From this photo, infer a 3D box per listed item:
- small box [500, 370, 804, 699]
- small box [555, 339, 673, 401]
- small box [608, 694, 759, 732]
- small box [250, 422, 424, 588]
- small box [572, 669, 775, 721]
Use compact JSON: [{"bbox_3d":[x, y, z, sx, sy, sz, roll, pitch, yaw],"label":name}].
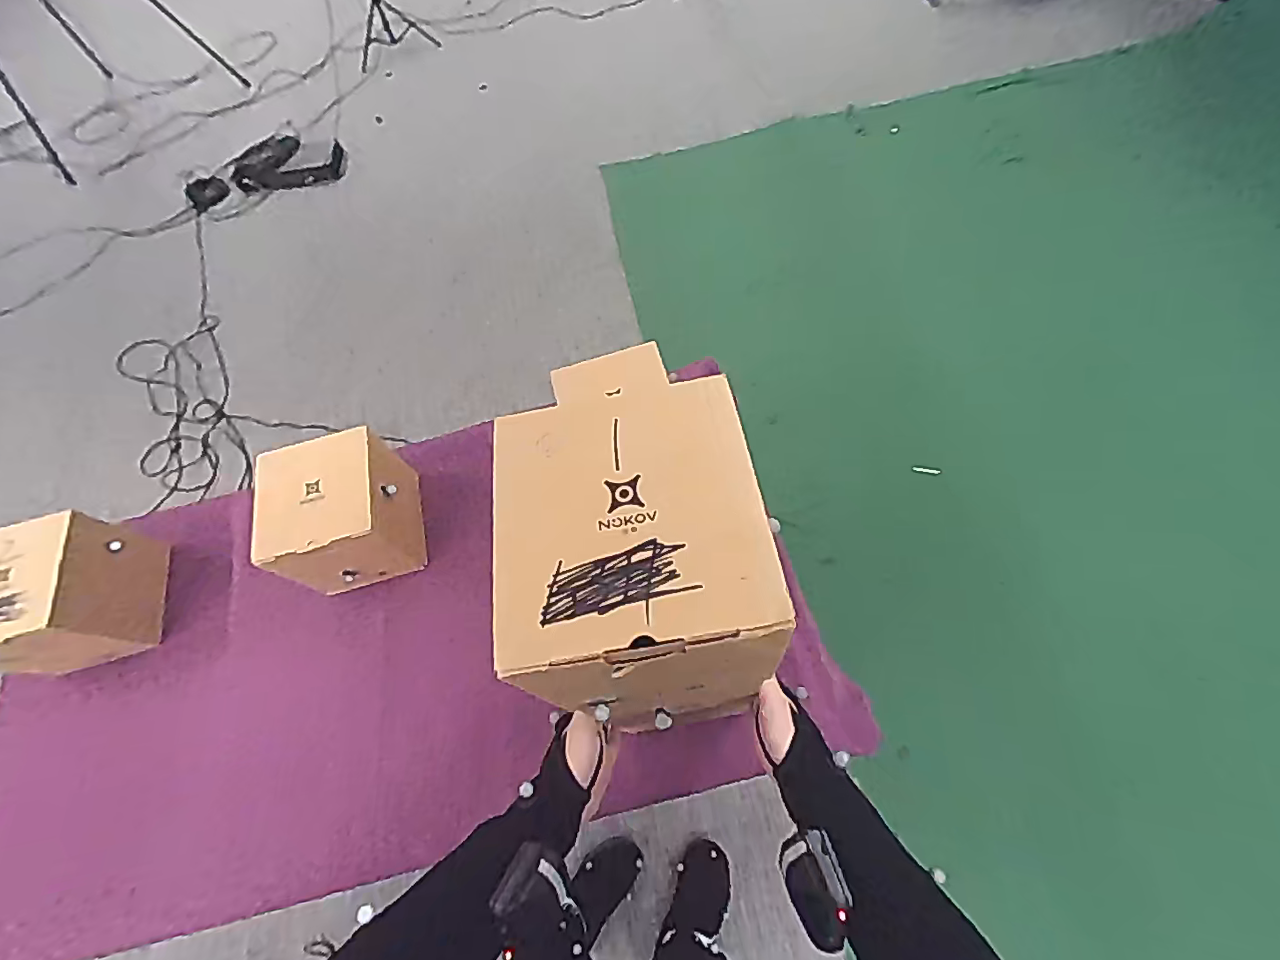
[{"bbox_3d":[0.007,0.052,0.390,0.168,0.176,0.179,-10,59,2],"label":"small box"},{"bbox_3d":[-0.021,-0.080,0.833,0.168,0.176,0.179,-16,64,0],"label":"small box"},{"bbox_3d":[0.042,0.205,0.680,0.168,0.176,0.179,-10,61,1],"label":"small box"},{"bbox_3d":[-0.445,0.044,0.816,0.168,0.176,0.179,-15,65,-3],"label":"small box"},{"bbox_3d":[0.024,0.128,0.535,0.168,0.176,0.179,-9,61,2],"label":"small box"}]
